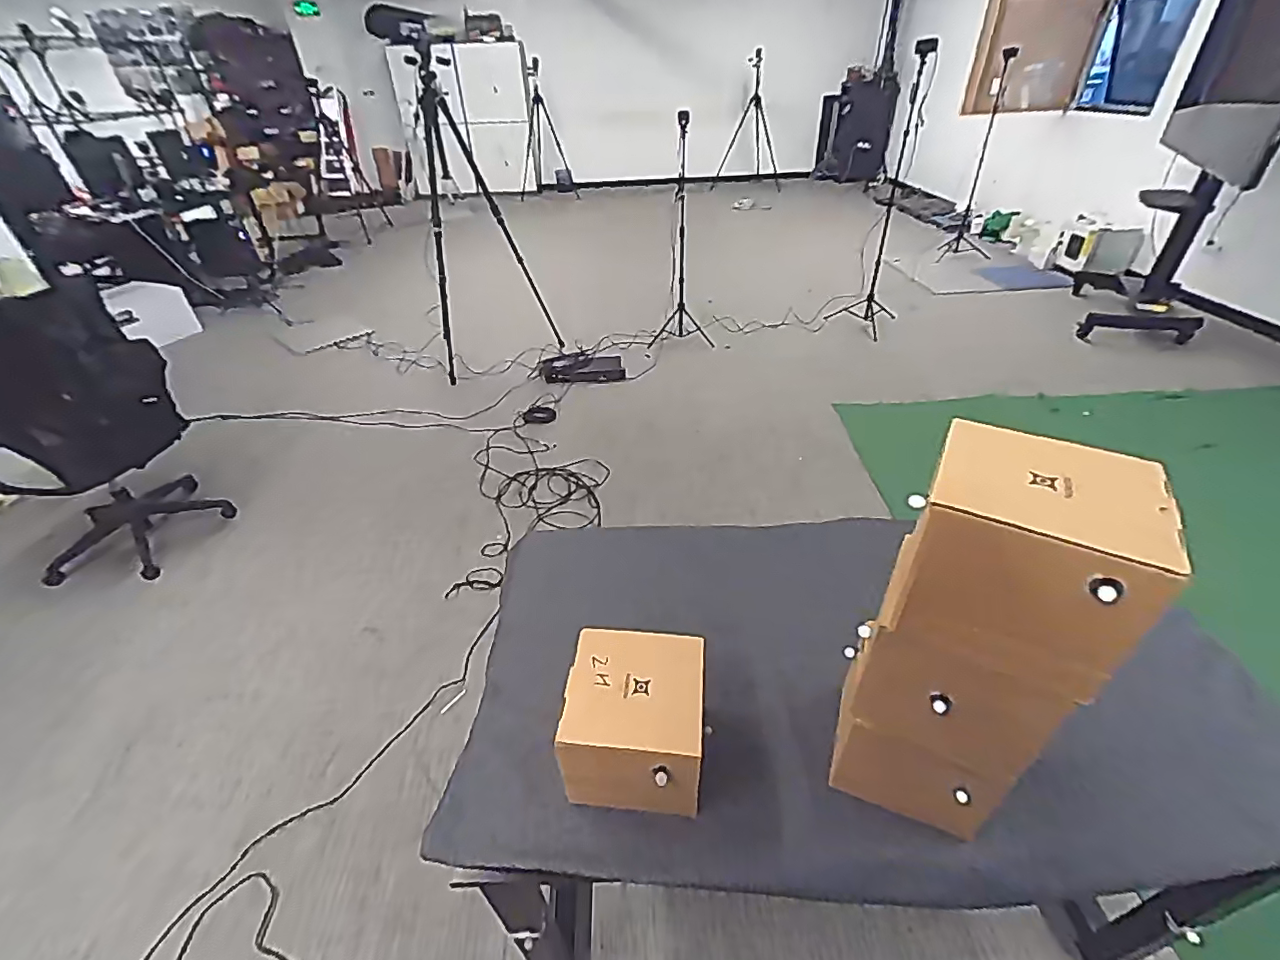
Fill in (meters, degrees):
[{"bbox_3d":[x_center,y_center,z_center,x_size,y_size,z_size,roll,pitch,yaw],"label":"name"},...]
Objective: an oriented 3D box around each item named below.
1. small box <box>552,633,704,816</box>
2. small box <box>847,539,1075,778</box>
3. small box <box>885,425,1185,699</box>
[{"bbox_3d":[-0.006,0.333,0.737,0.179,0.176,0.168,2,37,7],"label":"small box"},{"bbox_3d":[0.357,0.202,0.617,0.179,0.176,0.168,18,41,27],"label":"small box"},{"bbox_3d":[0.355,0.073,0.519,0.179,0.176,0.168,19,41,25],"label":"small box"}]
